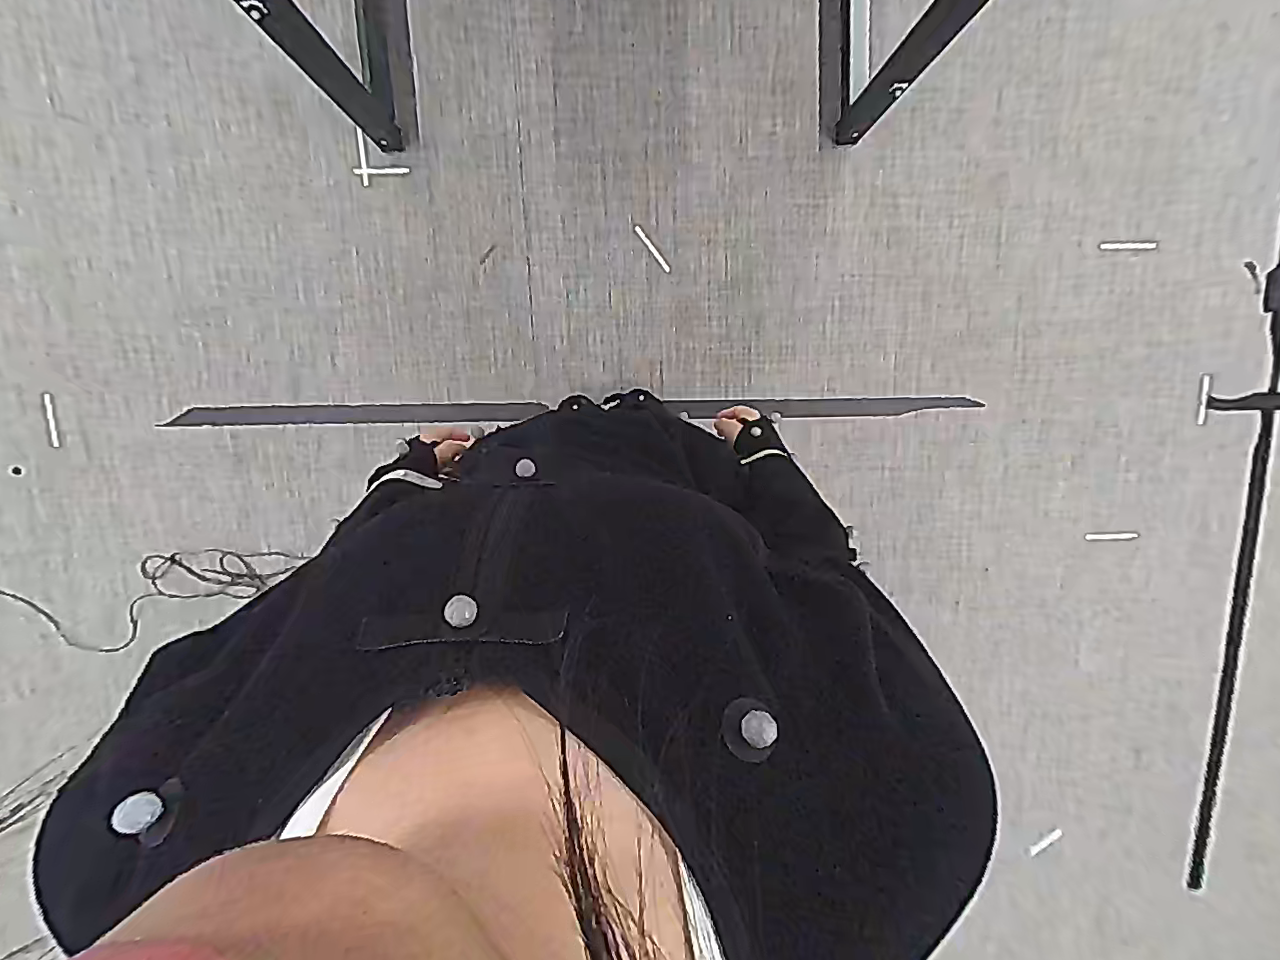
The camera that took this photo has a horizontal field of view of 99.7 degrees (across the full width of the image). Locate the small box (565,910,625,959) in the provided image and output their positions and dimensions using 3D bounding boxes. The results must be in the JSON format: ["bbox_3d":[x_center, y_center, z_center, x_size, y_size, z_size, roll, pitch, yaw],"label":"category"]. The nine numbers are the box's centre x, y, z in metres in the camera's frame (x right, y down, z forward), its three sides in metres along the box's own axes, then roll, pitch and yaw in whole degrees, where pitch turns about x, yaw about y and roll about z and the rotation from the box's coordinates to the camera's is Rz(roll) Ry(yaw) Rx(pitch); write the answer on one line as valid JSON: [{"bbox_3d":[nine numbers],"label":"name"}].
[{"bbox_3d":[-0.141,1.466,1.658,0.179,0.176,0.168,5,99,-4],"label":"small box"}]
